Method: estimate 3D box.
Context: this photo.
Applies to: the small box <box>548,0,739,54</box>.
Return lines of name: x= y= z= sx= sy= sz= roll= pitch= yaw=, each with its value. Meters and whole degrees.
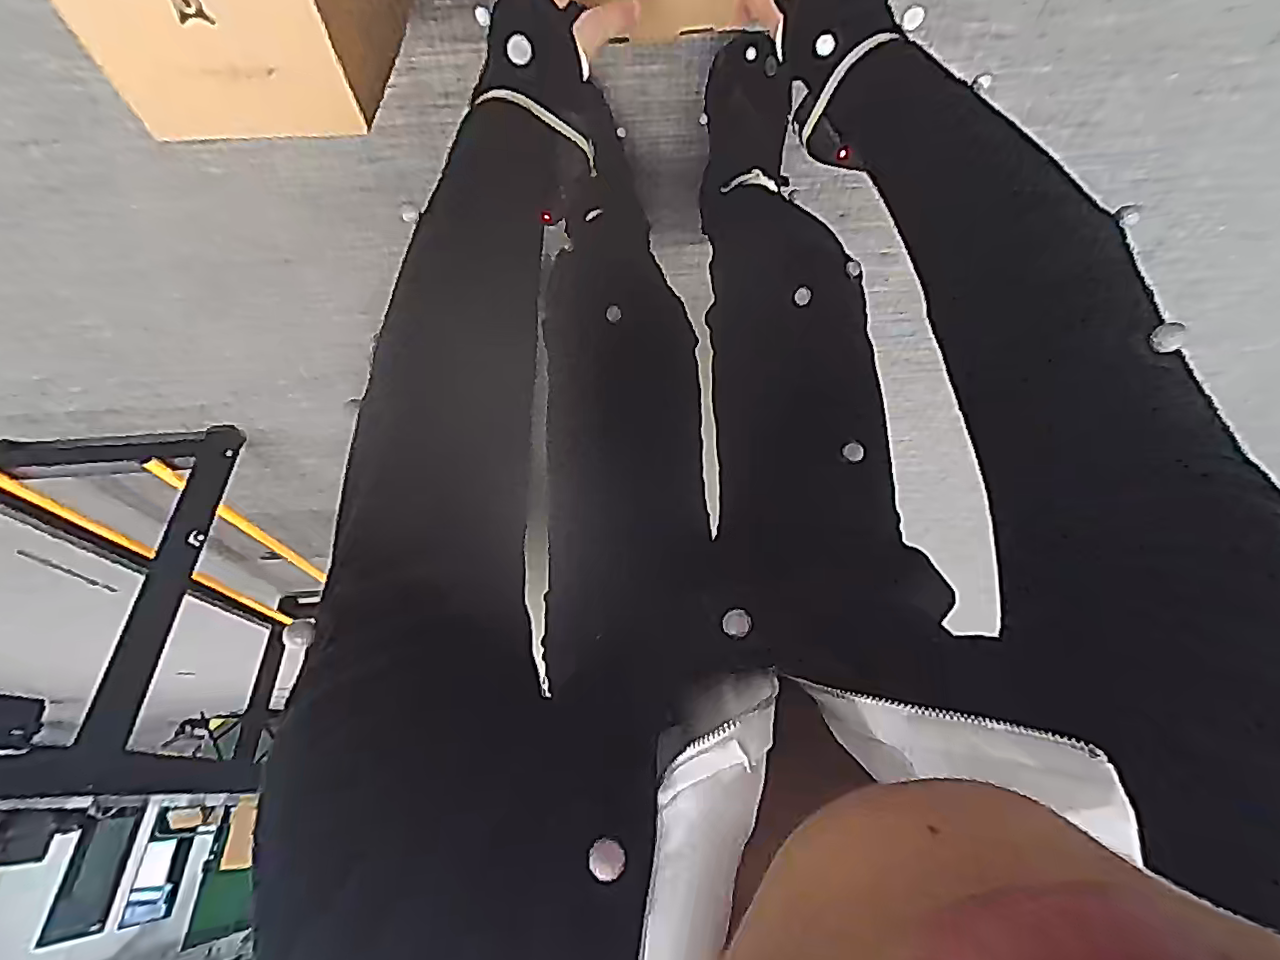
small box: x=-0.002 y=-0.503 z=0.453 sx=0.168 sy=0.176 sz=0.179 roll=-5 pitch=150 yaw=1

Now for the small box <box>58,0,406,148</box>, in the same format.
small box: x=-0.292 y=-0.376 z=0.391 sx=0.168 sy=0.176 sz=0.179 roll=-2 pitch=151 yaw=-1

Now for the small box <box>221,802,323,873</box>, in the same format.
small box: x=-1.098 y=1.074 z=1.632 sx=0.168 sy=0.176 sz=0.179 roll=-4 pitch=148 yaw=1
